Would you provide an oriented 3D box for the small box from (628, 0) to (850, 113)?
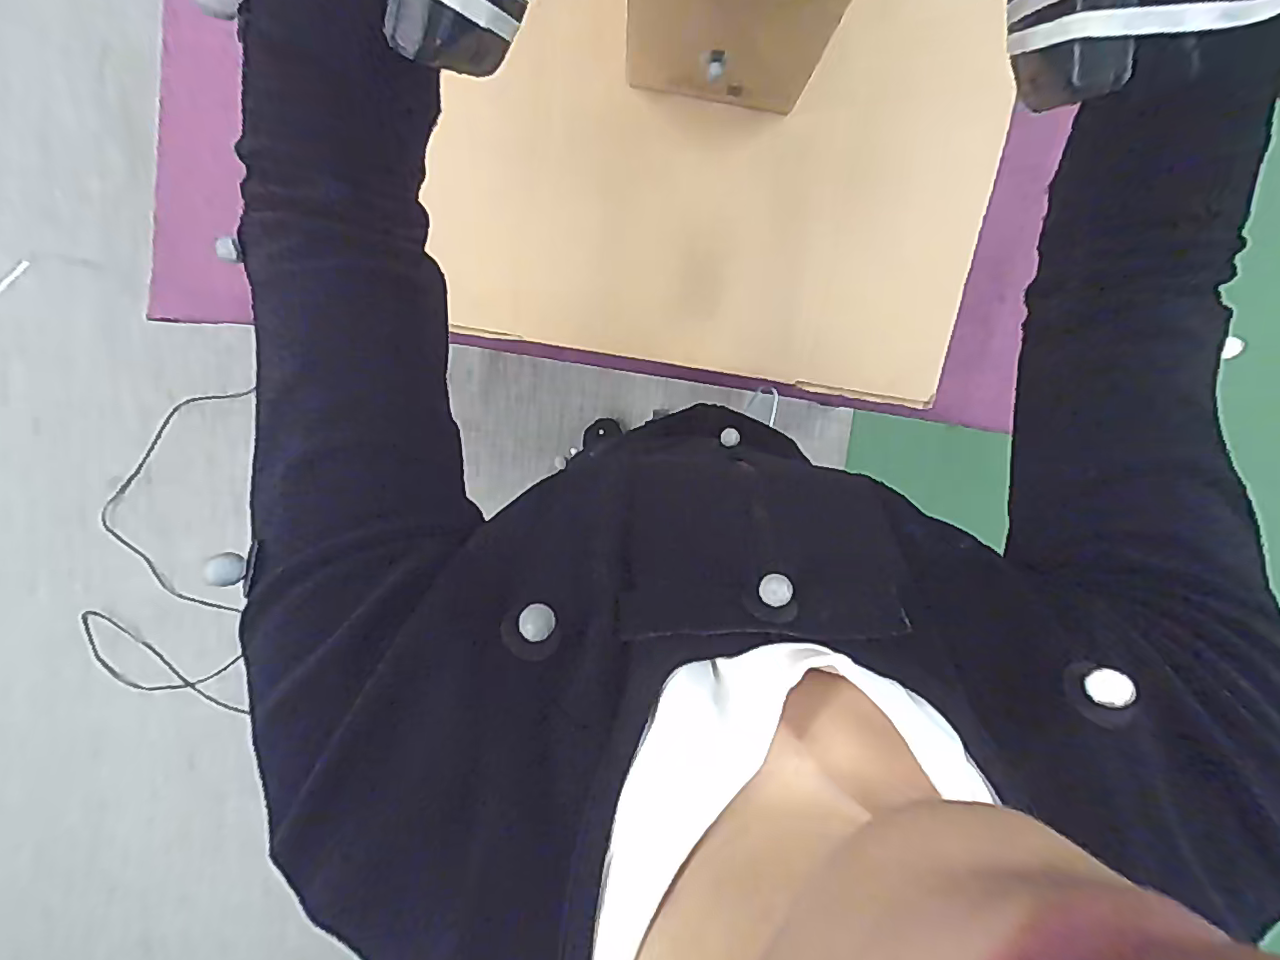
[{"bbox_3d":[0.083,-0.448,0.438,0.168,0.176,0.179,9,95,-2],"label":"small box"}]
